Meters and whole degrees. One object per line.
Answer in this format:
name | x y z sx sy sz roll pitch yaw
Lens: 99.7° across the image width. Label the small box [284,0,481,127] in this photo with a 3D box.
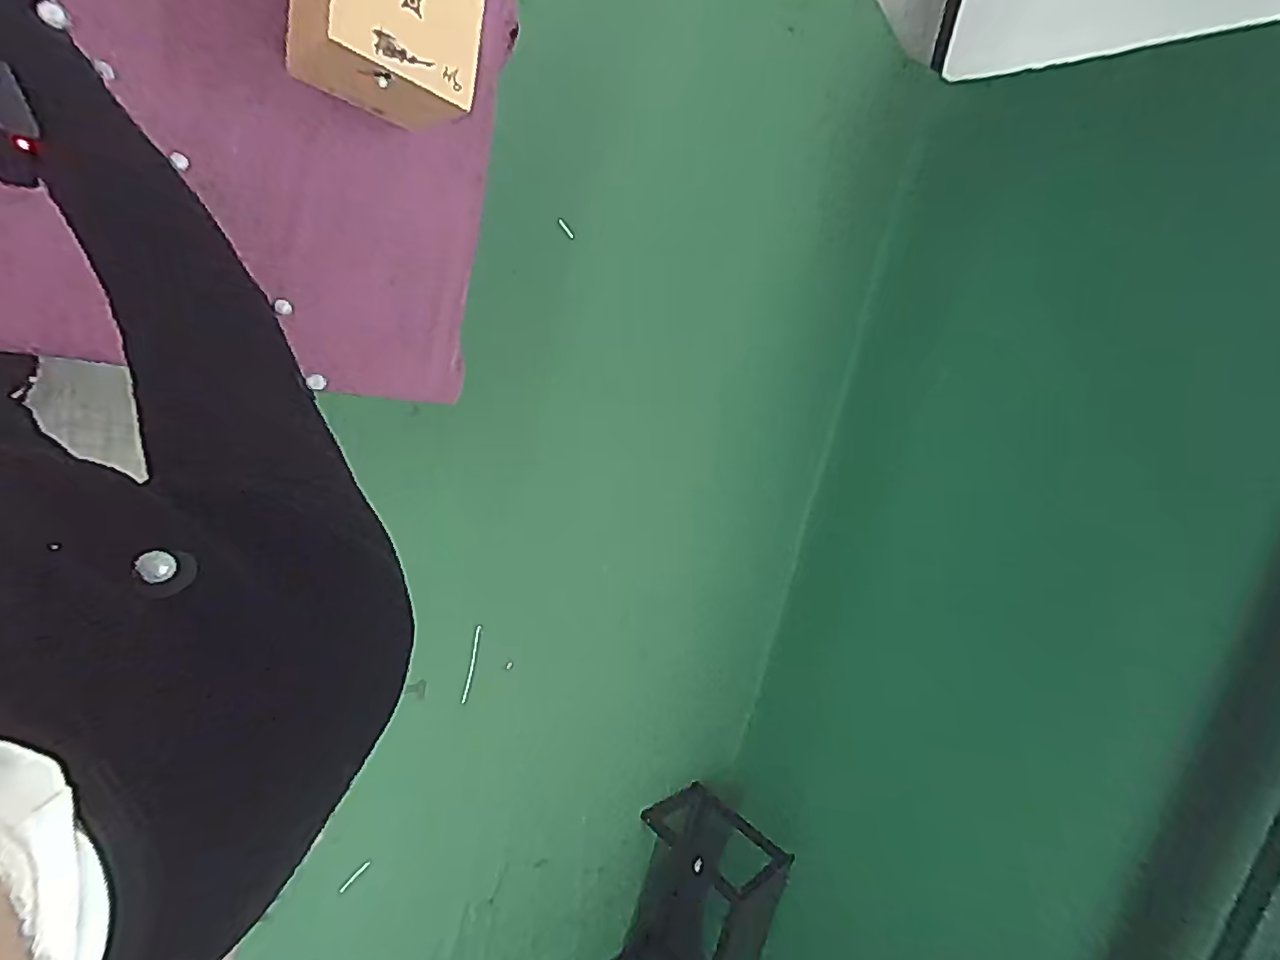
small box | -0.312 -0.567 0.653 0.168 0.176 0.179 -1 105 -46
